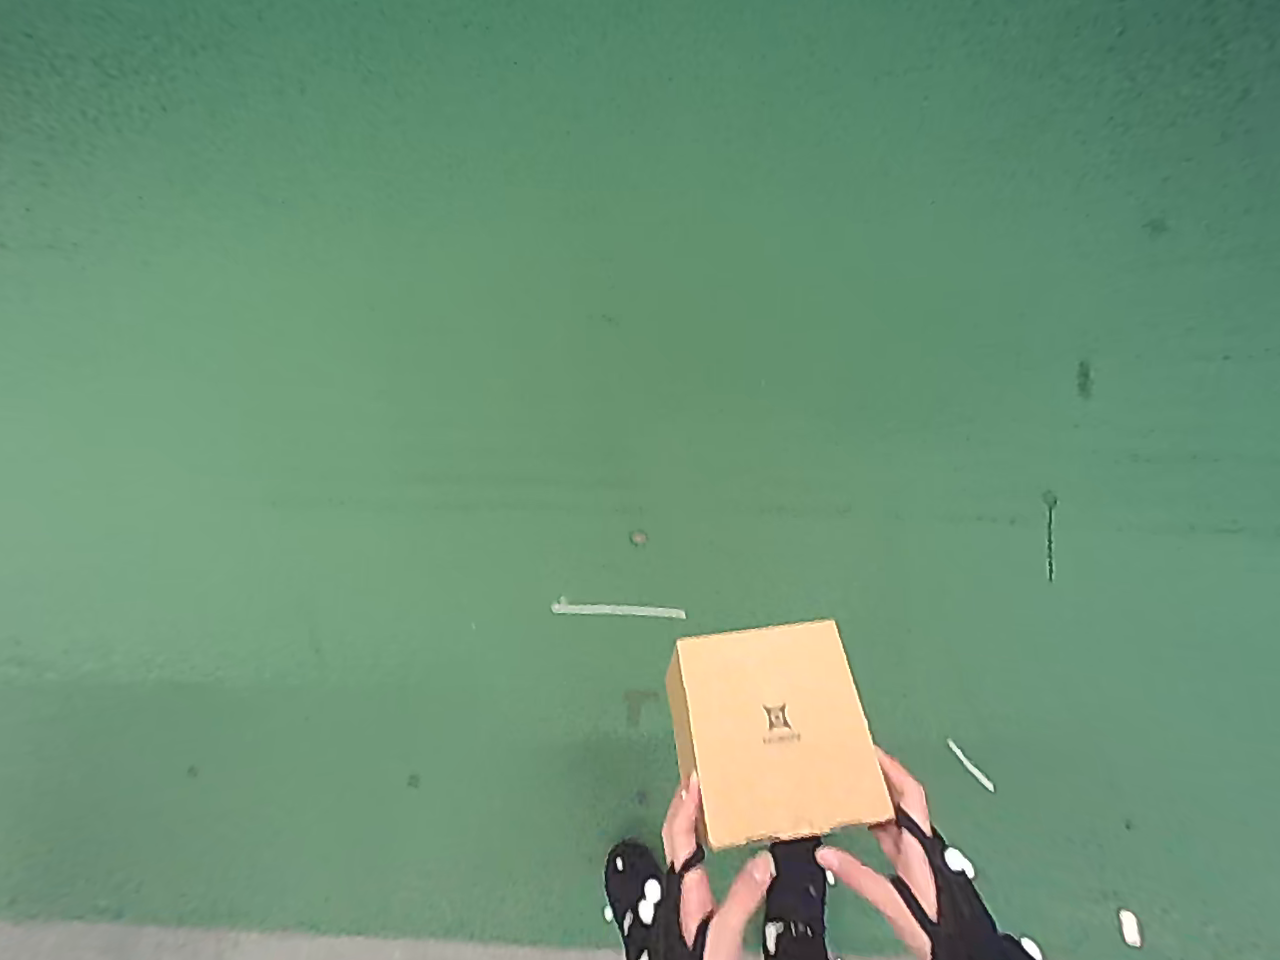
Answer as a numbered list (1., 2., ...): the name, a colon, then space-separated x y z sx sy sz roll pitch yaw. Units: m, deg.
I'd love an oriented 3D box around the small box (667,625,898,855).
1. small box: 0.124 0.267 0.558 0.168 0.176 0.179 -6 60 -5
